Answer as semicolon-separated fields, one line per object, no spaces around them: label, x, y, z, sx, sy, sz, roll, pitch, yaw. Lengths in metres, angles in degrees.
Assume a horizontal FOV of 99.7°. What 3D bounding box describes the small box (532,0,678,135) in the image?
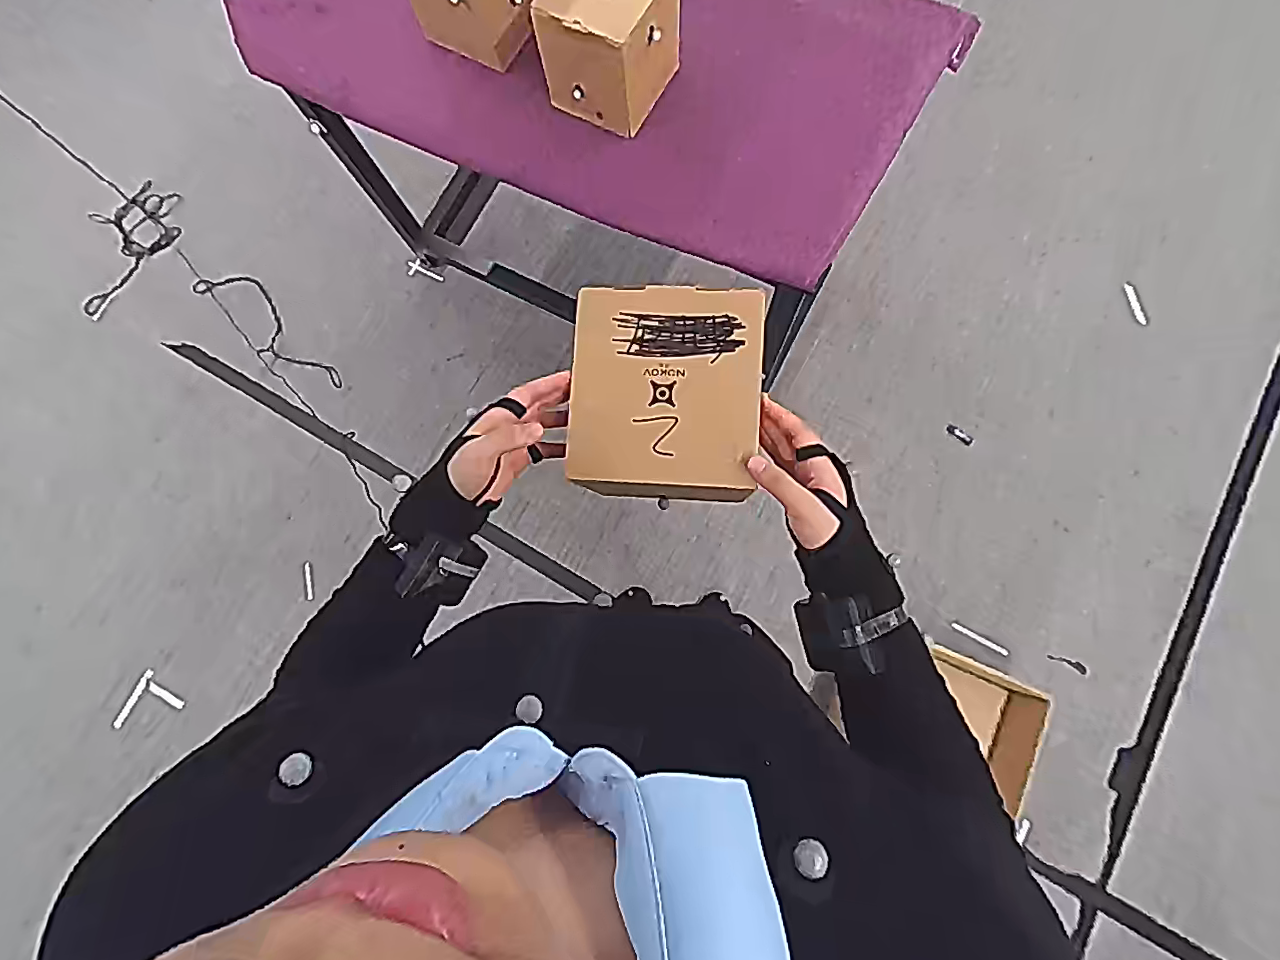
small box;-0.048;-0.719;0.880;0.168;0.176;0.179;29;82;9

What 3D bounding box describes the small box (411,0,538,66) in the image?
small box;-0.286;-0.863;0.923;0.179;0.176;0.168;29;82;9
